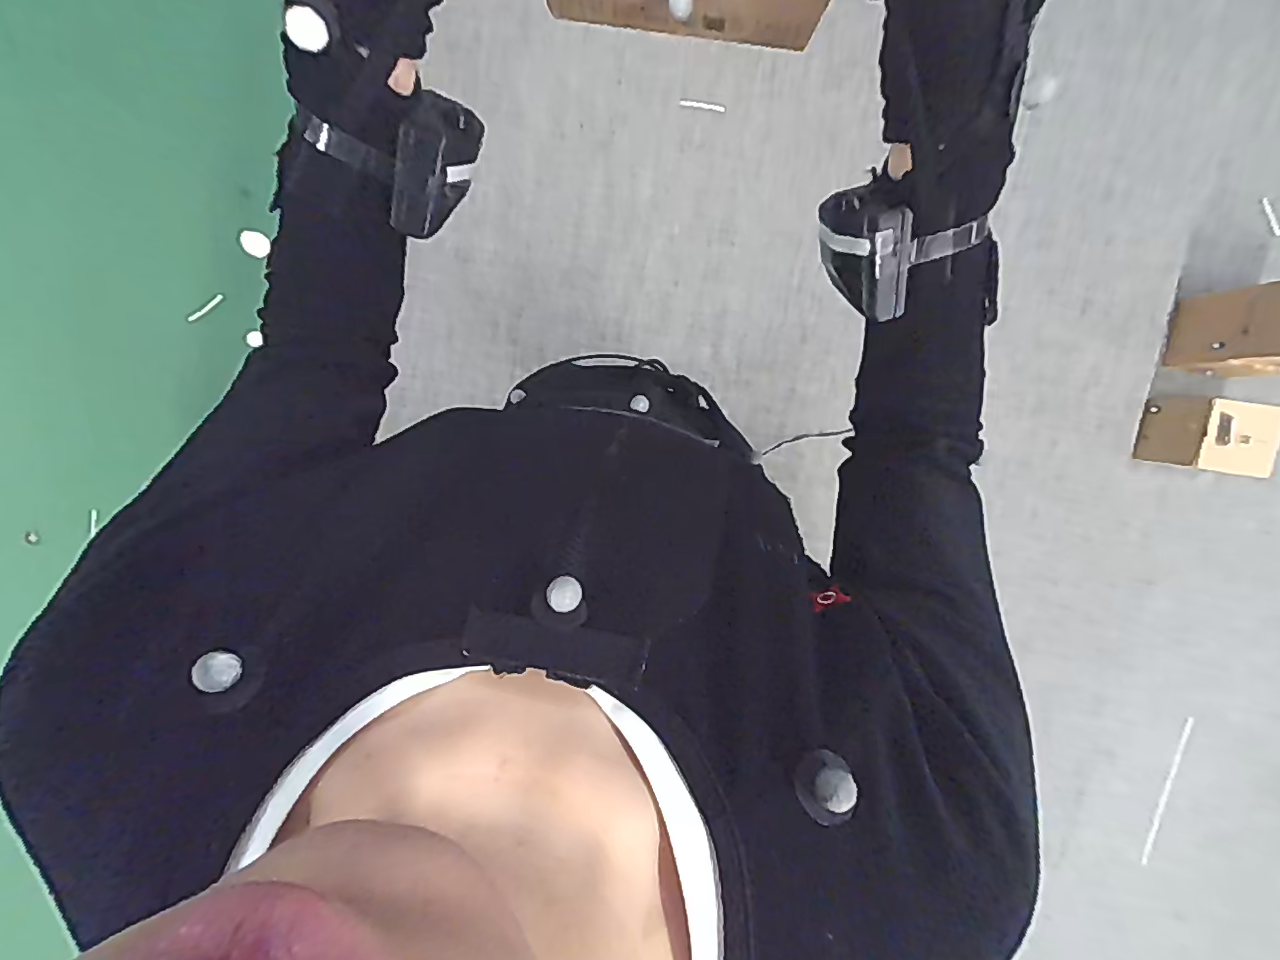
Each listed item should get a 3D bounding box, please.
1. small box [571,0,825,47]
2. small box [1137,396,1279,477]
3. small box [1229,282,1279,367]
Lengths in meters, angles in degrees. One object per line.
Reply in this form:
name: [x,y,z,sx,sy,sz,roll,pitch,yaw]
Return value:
small box: [0.036,-0.352,0.249,0.168,0.176,0.179,8,105,0]
small box: [1.384,-0.110,1.322,0.179,0.176,0.168,8,99,0]
small box: [1.418,-0.327,1.124,0.179,0.176,0.168,9,99,0]
